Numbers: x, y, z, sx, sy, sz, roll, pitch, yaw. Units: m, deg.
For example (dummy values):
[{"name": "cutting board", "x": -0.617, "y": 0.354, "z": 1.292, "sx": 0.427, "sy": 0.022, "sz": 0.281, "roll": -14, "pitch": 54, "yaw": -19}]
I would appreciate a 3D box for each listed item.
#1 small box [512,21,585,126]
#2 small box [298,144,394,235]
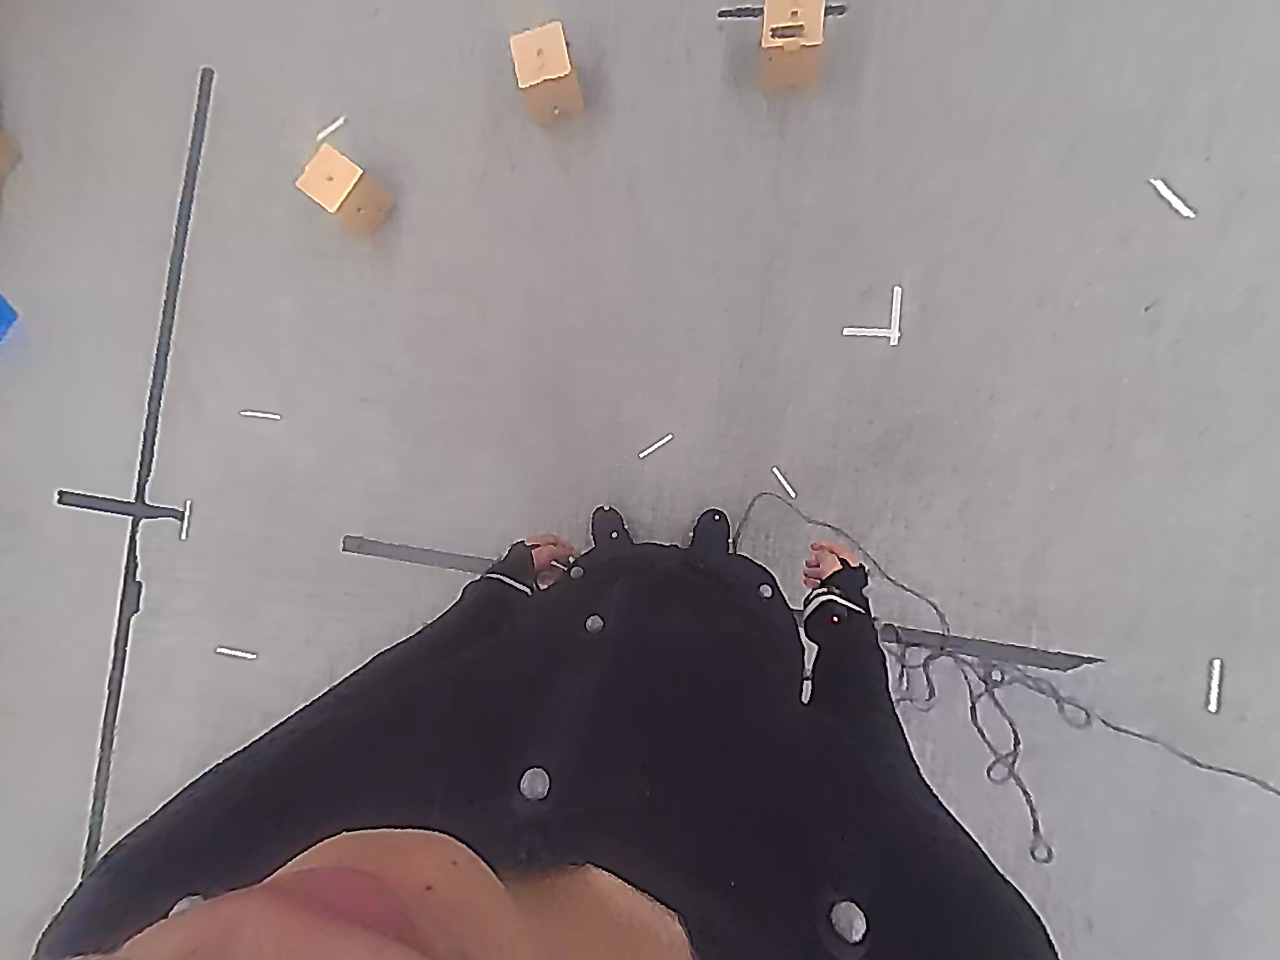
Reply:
[{"name": "small box", "x": -0.280, "y": -1.255, "z": 1.681, "sx": 0.168, "sy": 0.176, "sz": 0.179, "roll": -12, "pitch": 85, "yaw": 7}, {"name": "small box", "x": -0.944, "y": -0.928, "z": 1.752, "sx": 0.179, "sy": 0.176, "sz": 0.168, "roll": 37, "pitch": 93, "yaw": 8}]
